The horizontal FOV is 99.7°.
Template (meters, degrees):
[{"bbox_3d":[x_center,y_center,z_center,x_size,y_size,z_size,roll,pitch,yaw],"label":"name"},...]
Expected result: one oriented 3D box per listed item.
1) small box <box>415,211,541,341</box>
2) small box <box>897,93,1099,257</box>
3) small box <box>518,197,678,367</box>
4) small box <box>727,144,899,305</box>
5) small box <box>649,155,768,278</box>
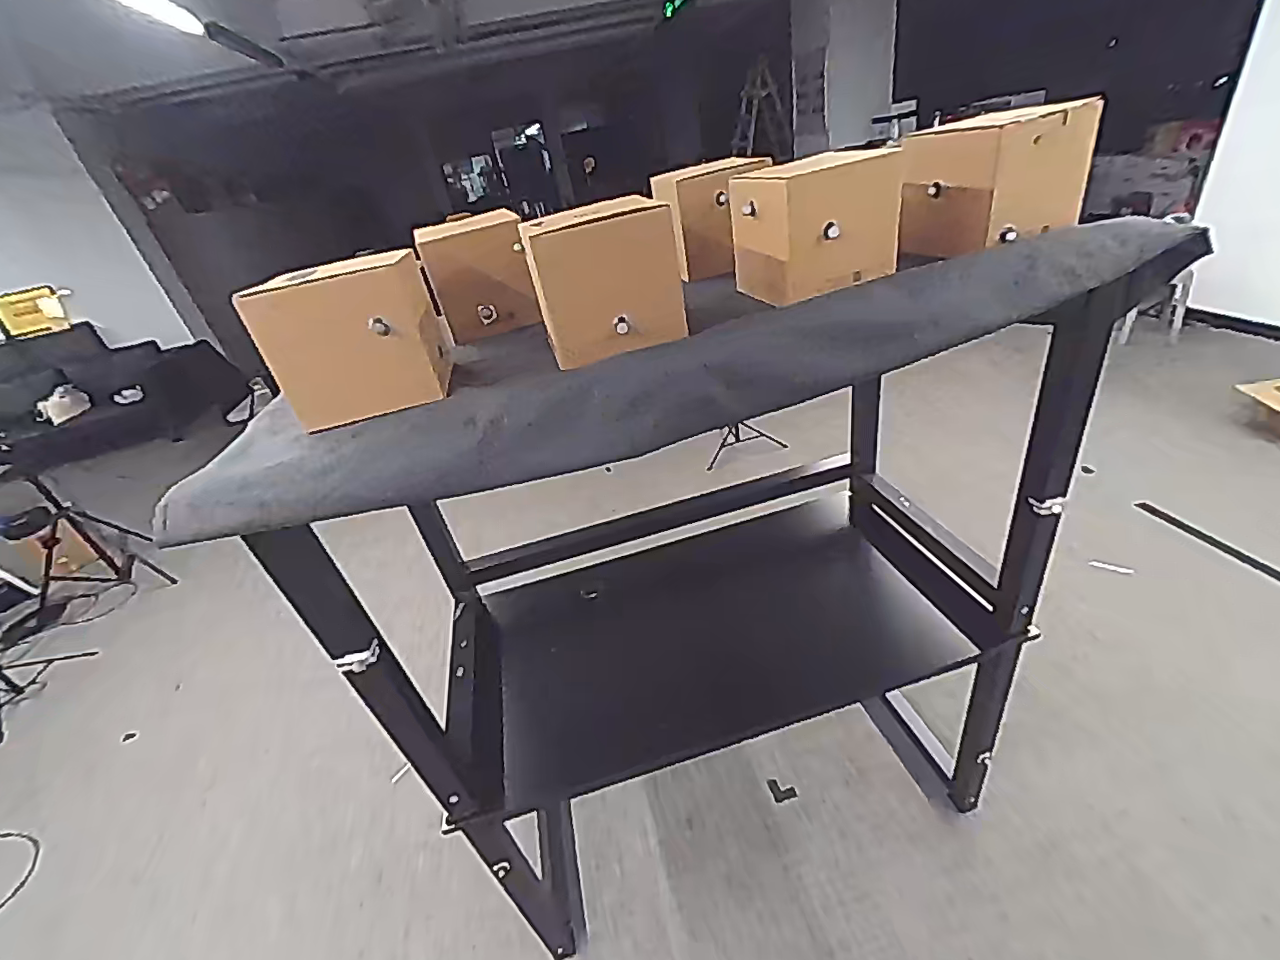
[{"bbox_3d":[-0.276,-0.357,0.942,0.168,0.176,0.179,-21,33,-11],"label":"small box"},{"bbox_3d":[0.504,-0.436,0.789,0.168,0.176,0.179,-19,31,-10],"label":"small box"},{"bbox_3d":[-0.054,-0.271,0.732,0.179,0.176,0.168,-16,32,-7],"label":"small box"},{"bbox_3d":[0.240,-0.360,0.769,0.168,0.176,0.179,-17,32,-7],"label":"small box"},{"bbox_3d":[0.132,-0.488,1.004,0.179,0.176,0.168,-16,33,-6],"label":"small box"}]
